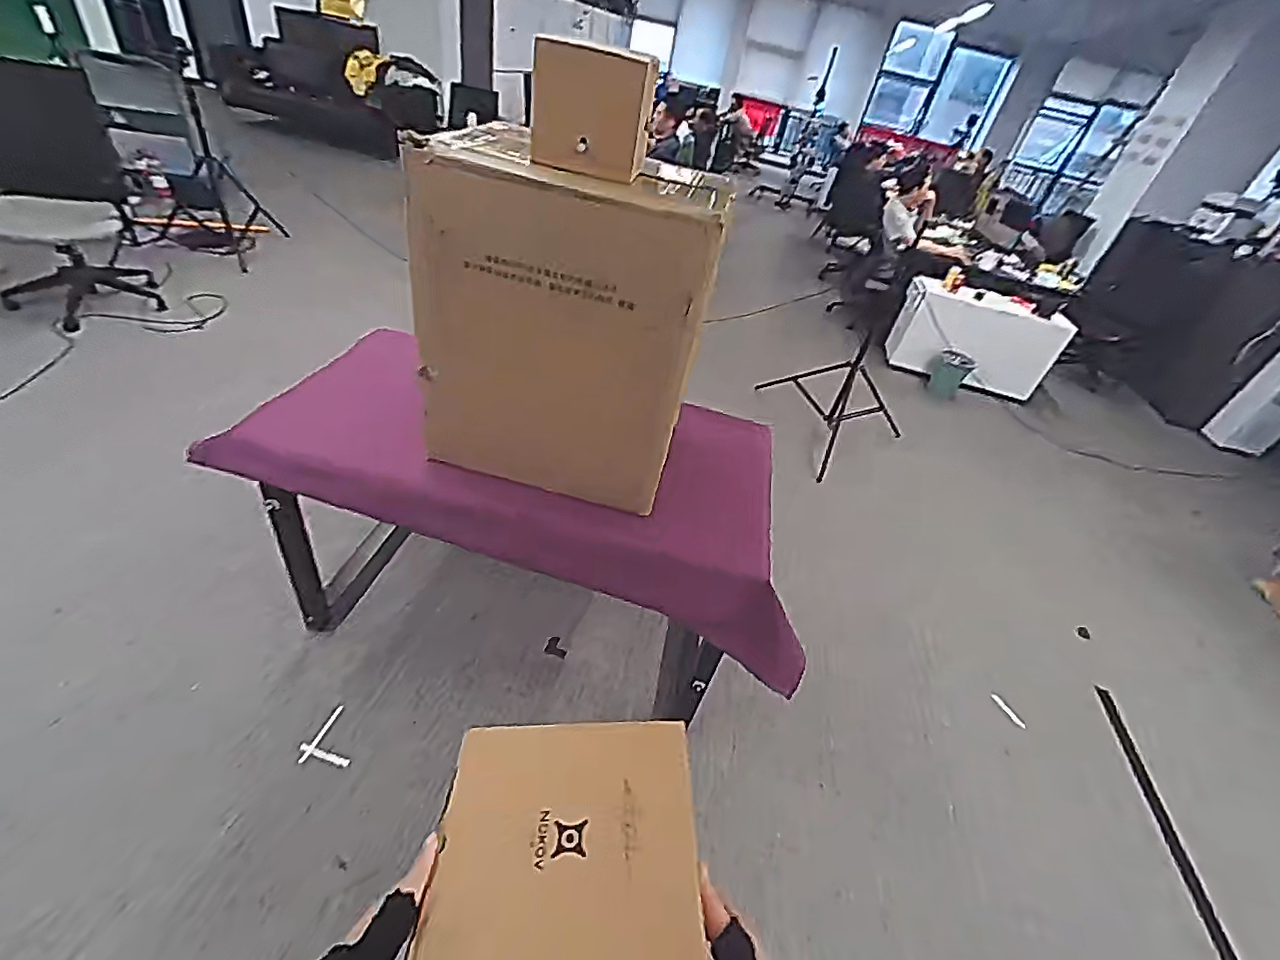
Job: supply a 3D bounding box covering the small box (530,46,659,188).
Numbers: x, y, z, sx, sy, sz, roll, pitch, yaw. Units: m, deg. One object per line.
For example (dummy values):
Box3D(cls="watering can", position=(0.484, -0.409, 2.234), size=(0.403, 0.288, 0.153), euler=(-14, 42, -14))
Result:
Box3D(cls="small box", position=(-0.078, -0.613, 0.920), size=(0.179, 0.176, 0.168), euler=(13, 39, -1))
